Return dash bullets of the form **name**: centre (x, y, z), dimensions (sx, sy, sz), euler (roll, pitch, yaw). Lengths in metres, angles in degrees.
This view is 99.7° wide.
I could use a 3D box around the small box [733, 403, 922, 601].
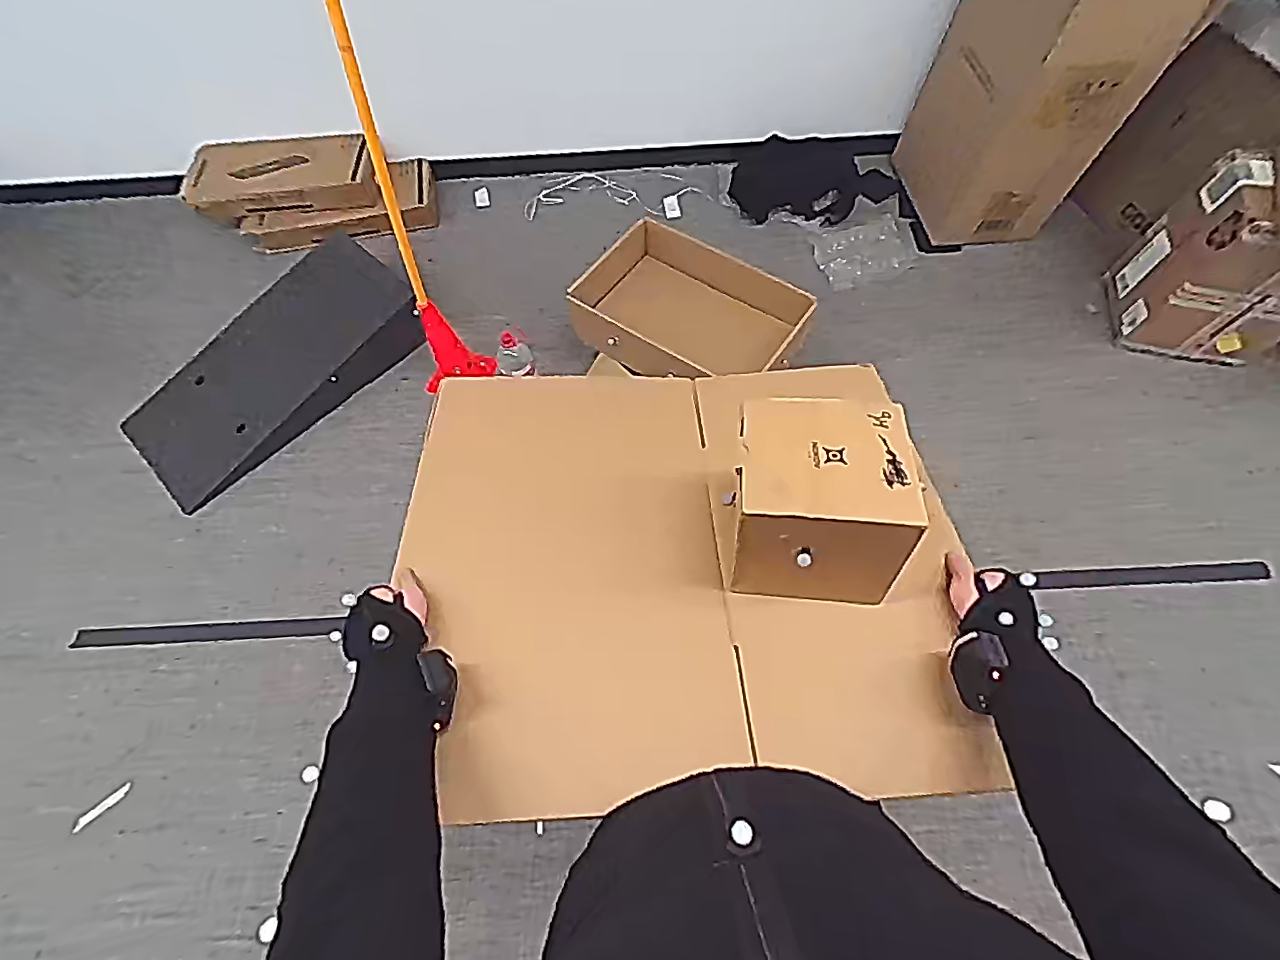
- **small box**: centre (0.202, 0.029, 0.633), dimensions (0.179, 0.176, 0.168), euler (3, 52, 9)
